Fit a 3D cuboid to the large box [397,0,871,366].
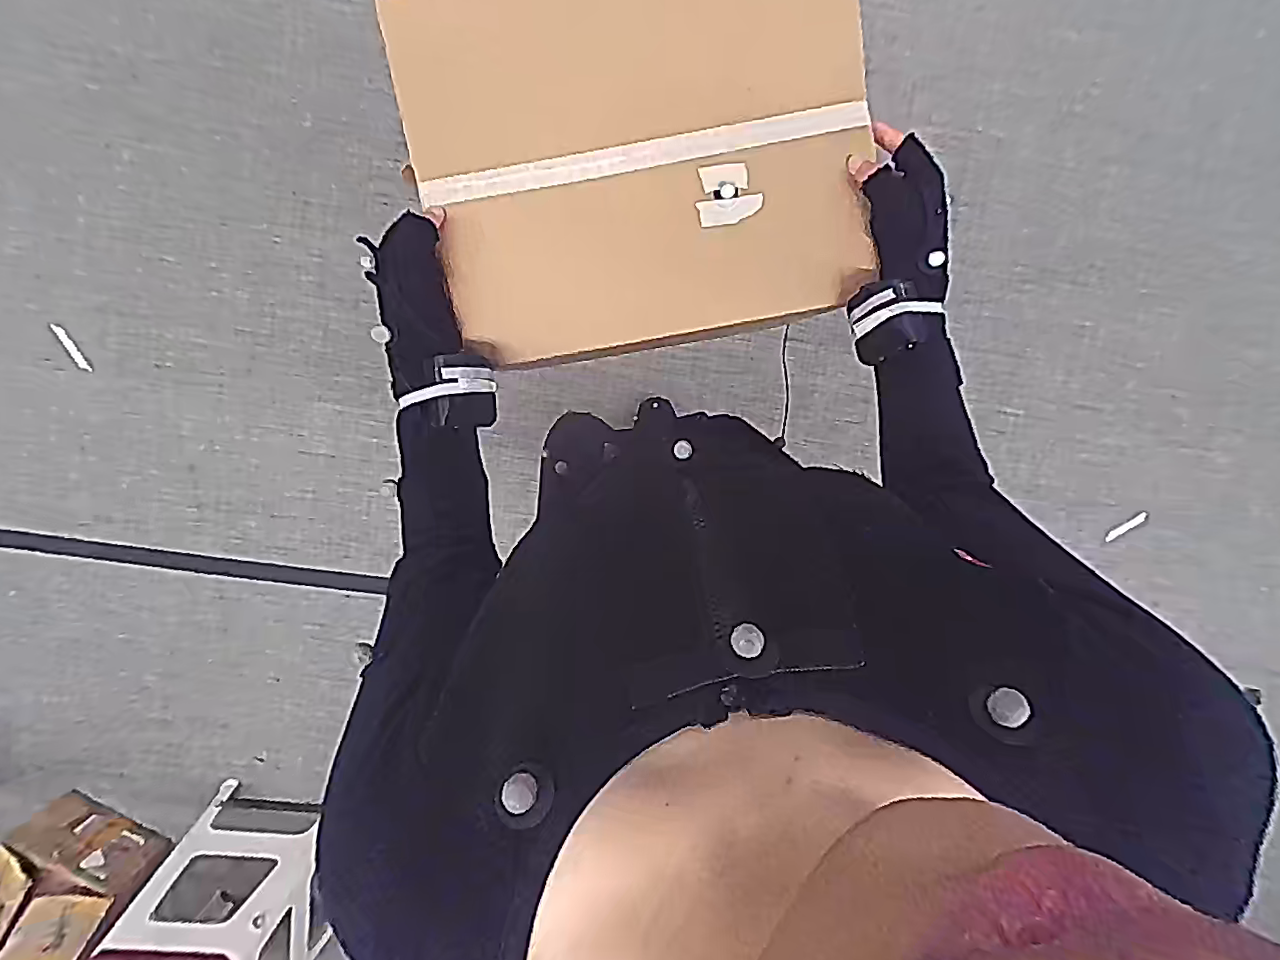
[{"bbox_3d":[-0.001,-0.328,0.646,0.408,0.320,0.320,-10,102,-1],"label":"large box"}]
